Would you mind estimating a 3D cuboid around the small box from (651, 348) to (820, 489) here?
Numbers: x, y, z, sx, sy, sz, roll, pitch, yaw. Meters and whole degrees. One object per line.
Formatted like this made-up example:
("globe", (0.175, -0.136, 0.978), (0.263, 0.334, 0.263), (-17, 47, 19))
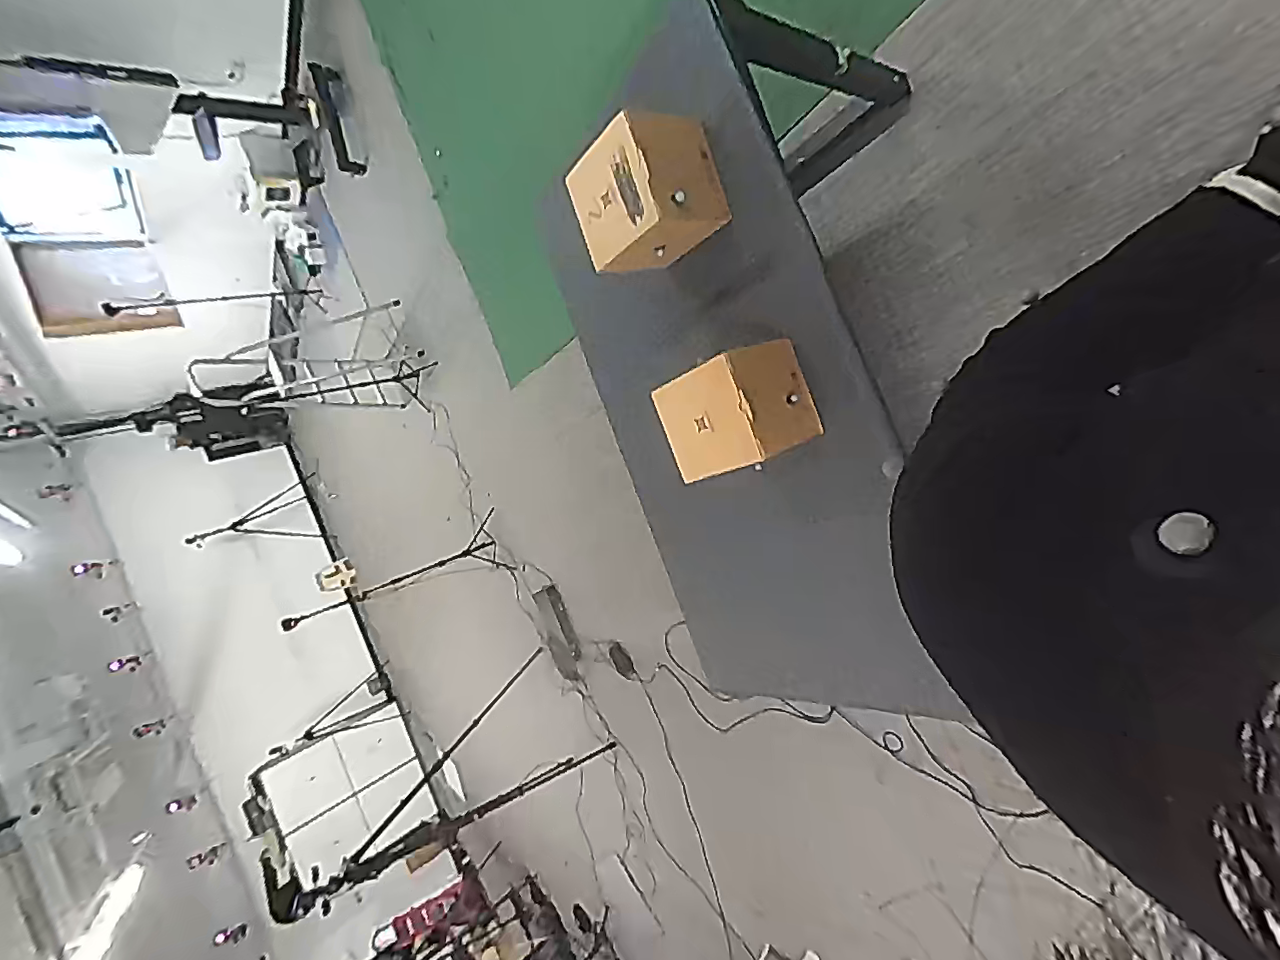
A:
("small box", (0.153, -0.098, 0.870), (0.179, 0.176, 0.168), (-21, 90, 50))
